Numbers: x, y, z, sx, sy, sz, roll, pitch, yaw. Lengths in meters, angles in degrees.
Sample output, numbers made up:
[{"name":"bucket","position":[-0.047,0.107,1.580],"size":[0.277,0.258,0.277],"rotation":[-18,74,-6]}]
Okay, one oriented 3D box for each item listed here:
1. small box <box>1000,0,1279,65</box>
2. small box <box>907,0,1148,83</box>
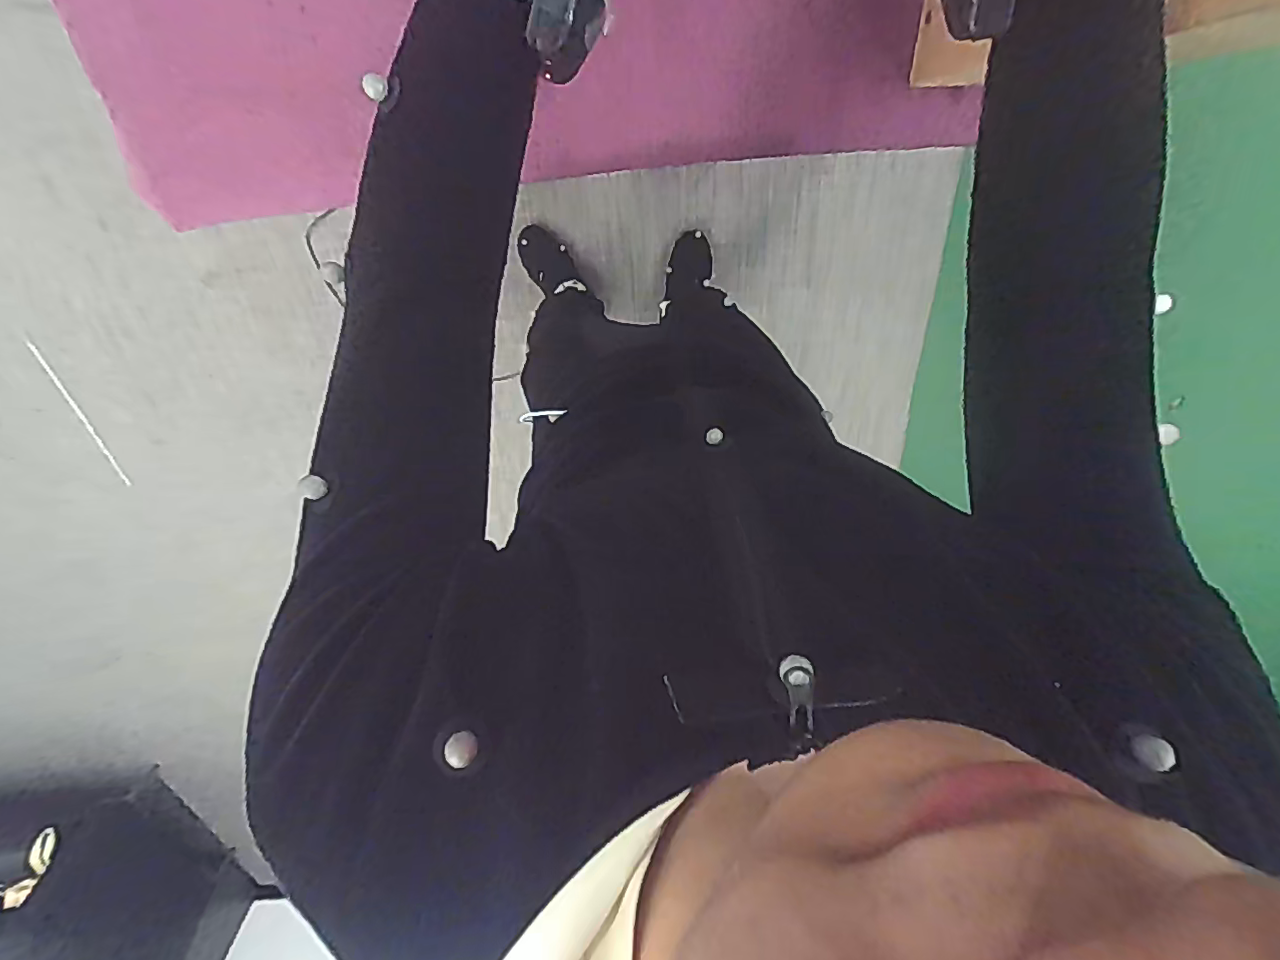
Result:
[{"name":"small box","position":[0.405,-0.422,0.391],"size":[0.168,0.176,0.179],"rotation":[0,122,1]},{"name":"small box","position":[0.401,-0.503,0.533],"size":[0.179,0.176,0.168],"rotation":[-1,121,0]}]
